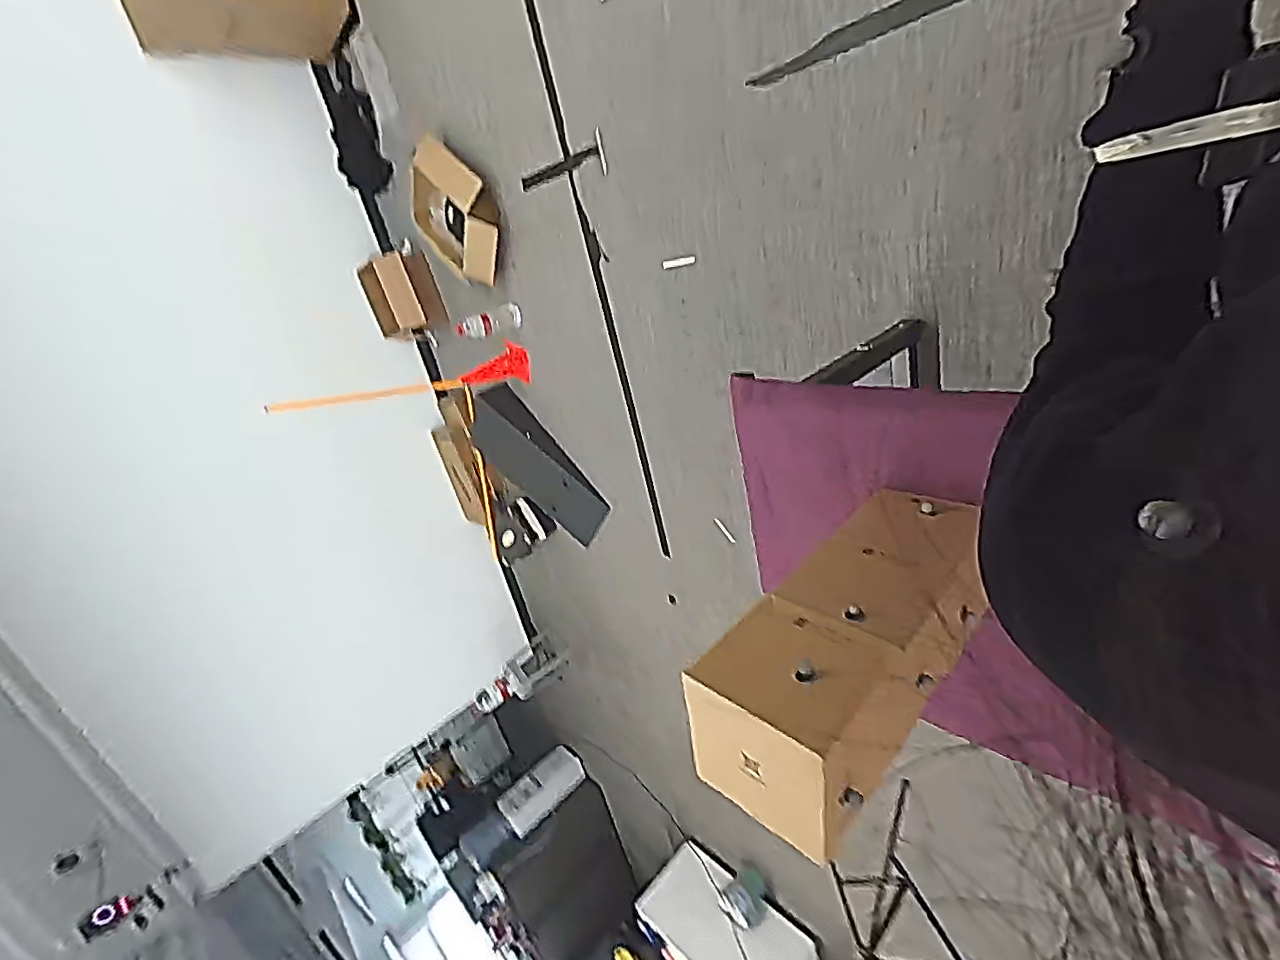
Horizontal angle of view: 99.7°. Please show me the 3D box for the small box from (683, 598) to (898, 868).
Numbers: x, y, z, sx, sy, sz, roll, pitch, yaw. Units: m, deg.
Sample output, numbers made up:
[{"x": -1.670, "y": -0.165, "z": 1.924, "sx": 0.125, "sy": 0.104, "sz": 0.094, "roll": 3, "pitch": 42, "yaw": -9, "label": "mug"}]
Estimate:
[{"x": 0.172, "y": 0.263, "z": 0.605, "sx": 0.168, "sy": 0.176, "sz": 0.179, "roll": 16, "pitch": 127, "yaw": 43, "label": "small box"}]

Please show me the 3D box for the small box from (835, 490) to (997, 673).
[{"x": 0.405, "y": 0.138, "z": 0.798, "sx": 0.168, "sy": 0.176, "sz": 0.179, "roll": 14, "pitch": 125, "yaw": 44, "label": "small box"}]

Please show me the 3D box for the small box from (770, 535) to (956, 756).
[{"x": 0.289, "y": 0.202, "z": 0.701, "sx": 0.168, "sy": 0.176, "sz": 0.179, "roll": 17, "pitch": 128, "yaw": 43, "label": "small box"}]
